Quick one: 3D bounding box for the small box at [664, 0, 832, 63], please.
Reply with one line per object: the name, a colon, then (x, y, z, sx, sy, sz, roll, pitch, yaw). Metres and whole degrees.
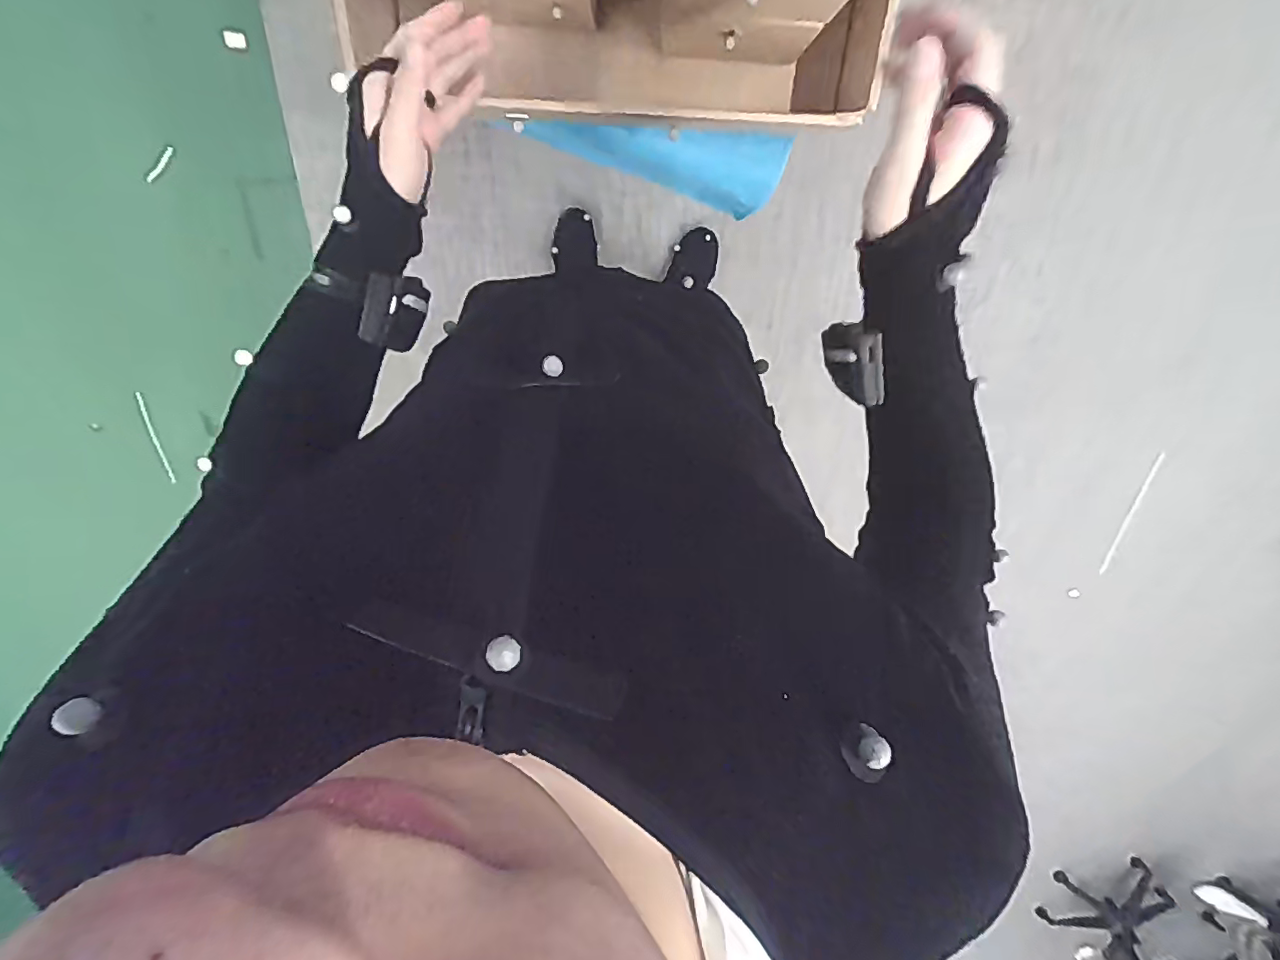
small box: (0.122, -0.587, 0.601, 0.179, 0.176, 0.168, 5, 116, 1)

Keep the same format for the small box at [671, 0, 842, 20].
small box: (0.116, -0.517, 0.453, 0.179, 0.176, 0.168, 4, 116, 2)
